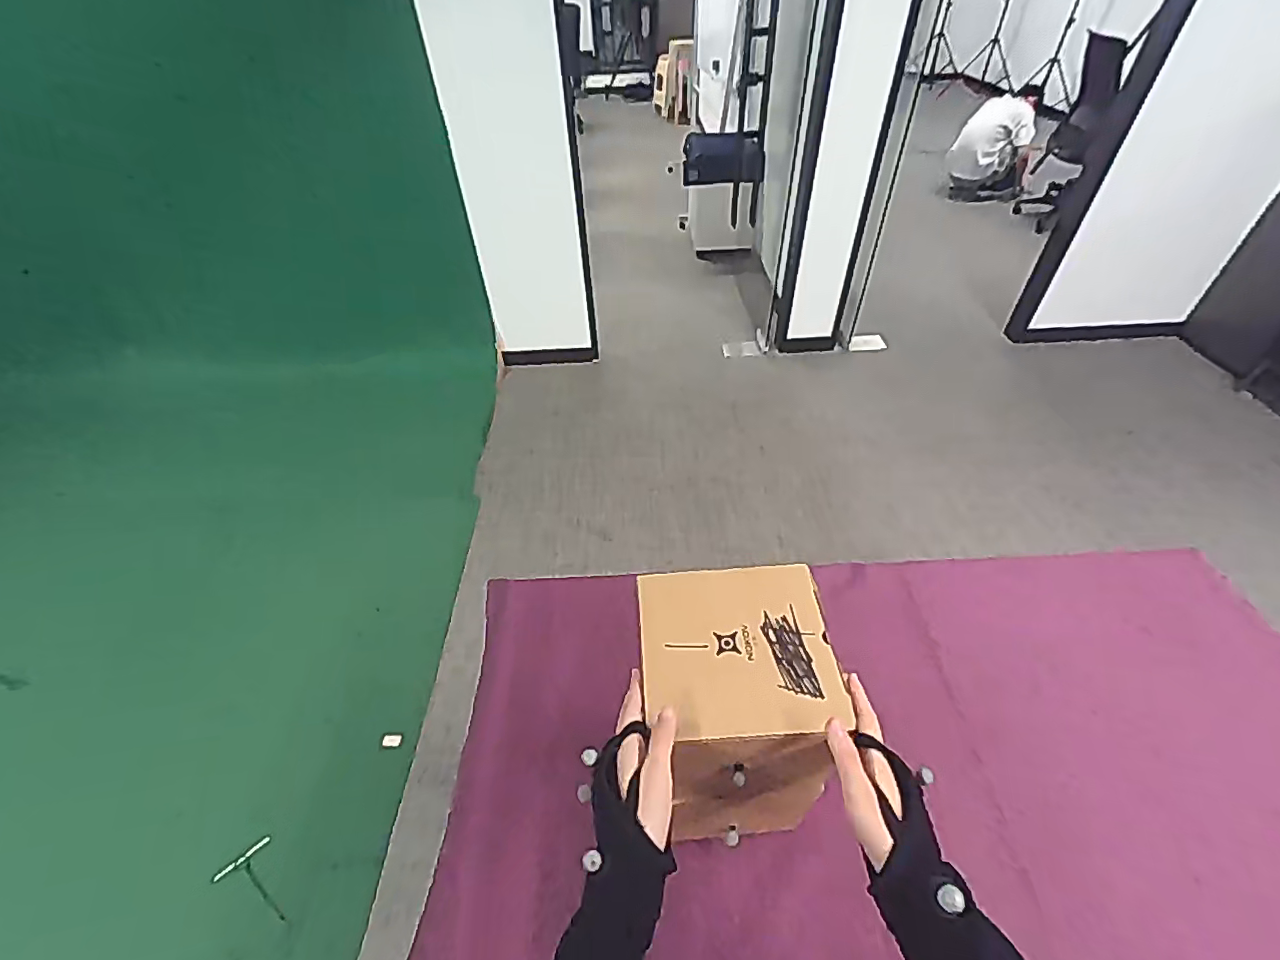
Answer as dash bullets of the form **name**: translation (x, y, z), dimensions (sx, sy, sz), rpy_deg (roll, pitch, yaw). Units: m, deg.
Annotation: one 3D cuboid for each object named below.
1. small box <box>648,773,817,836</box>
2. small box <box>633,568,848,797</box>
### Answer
- **small box**: translation (0.095, 0.324, 0.669), dimensions (0.179, 0.176, 0.168), rpy_deg (-4, 46, -2)
- **small box**: translation (0.085, 0.208, 0.551), dimensions (0.179, 0.176, 0.168), rpy_deg (-4, 46, 1)
